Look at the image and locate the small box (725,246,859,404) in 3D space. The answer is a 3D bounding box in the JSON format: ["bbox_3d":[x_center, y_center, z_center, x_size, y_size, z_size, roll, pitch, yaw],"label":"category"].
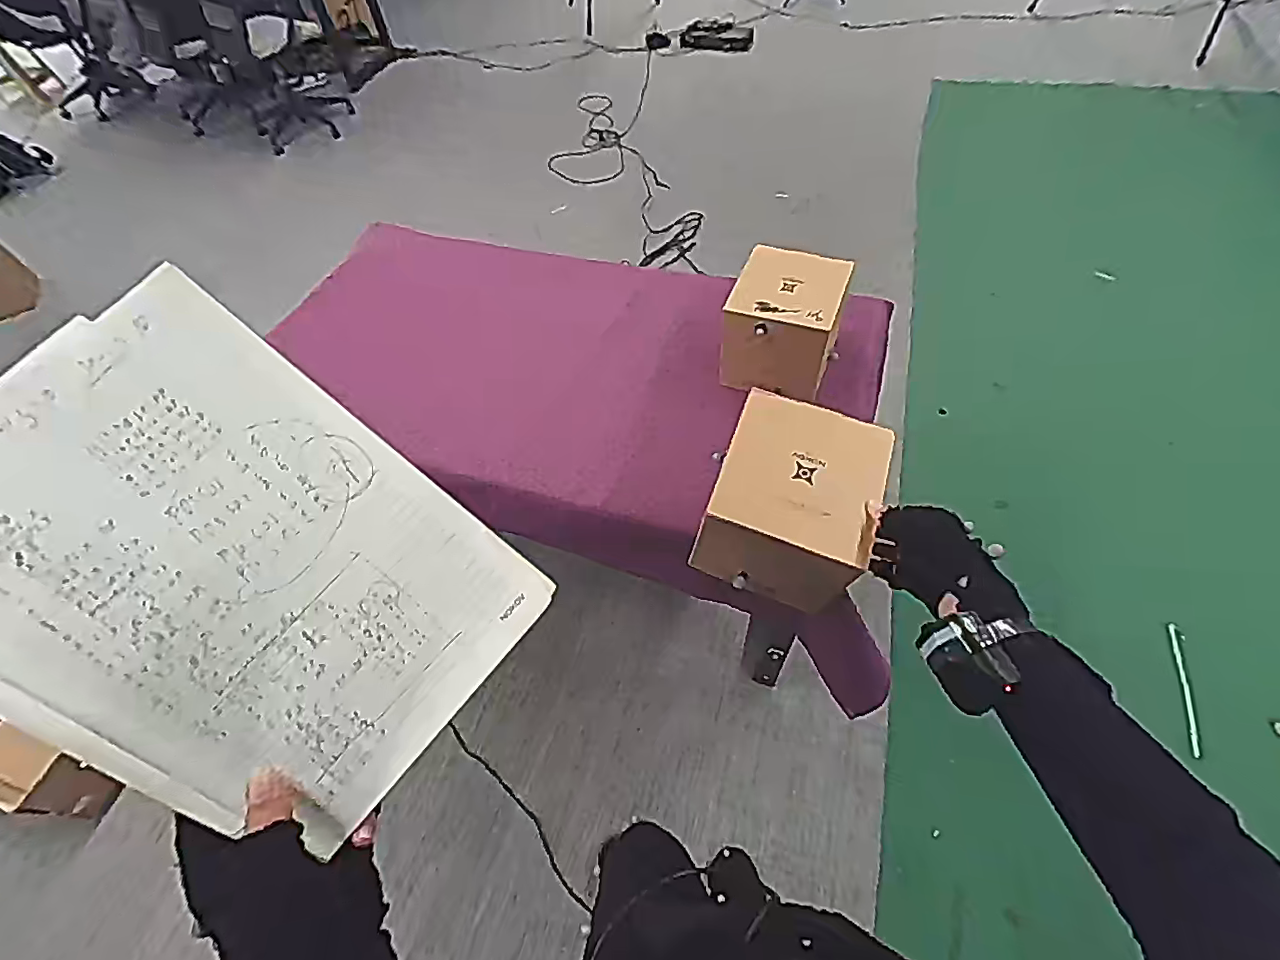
[{"bbox_3d":[0.246,-0.257,0.906,0.168,0.176,0.179,18,59,17],"label":"small box"}]

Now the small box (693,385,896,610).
[{"bbox_3d":[0.170,0.027,0.633,0.168,0.176,0.179,21,63,9],"label":"small box"}]
